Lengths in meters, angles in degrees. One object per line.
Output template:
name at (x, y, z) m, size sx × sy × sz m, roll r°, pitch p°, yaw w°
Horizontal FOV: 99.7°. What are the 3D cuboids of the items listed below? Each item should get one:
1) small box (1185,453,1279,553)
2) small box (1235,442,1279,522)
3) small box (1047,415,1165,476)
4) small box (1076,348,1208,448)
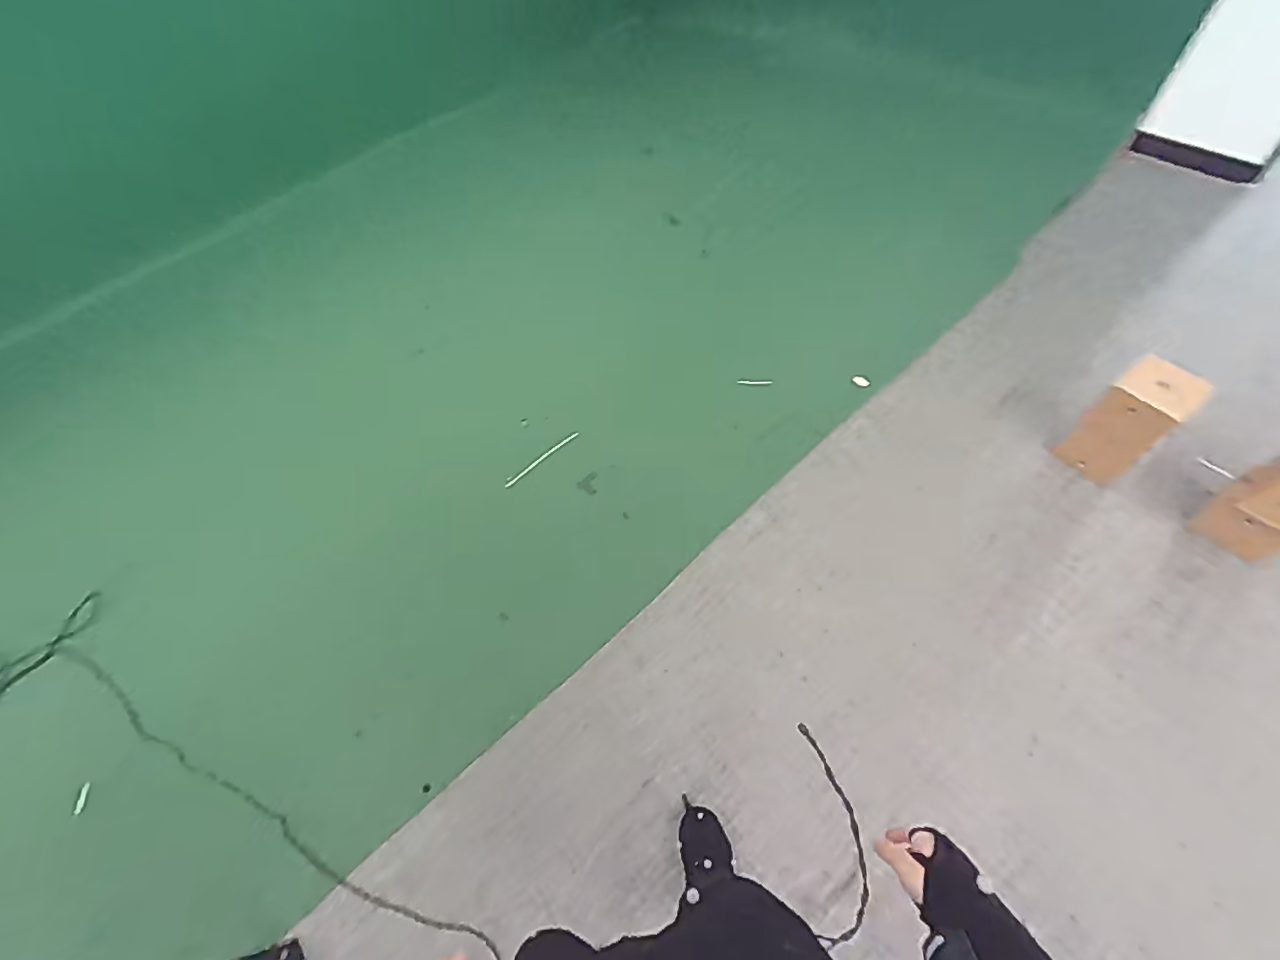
small box at (1.662, 0.068, 1.467) m, size 0.168 × 0.176 × 0.179 m, roll -39°, pitch 63°, yaw -14°
small box at (1.634, 0.000, 1.321) m, size 0.179 × 0.176 × 0.168 m, roll -42°, pitch 63°, yaw -17°
small box at (1.390, -0.135, 1.625) m, size 0.168 × 0.176 × 0.179 m, roll -37°, pitch 62°, yaw -14°
small box at (1.365, -0.222, 1.487) m, size 0.168 × 0.176 × 0.179 m, roll -37°, pitch 62°, yaw -13°
